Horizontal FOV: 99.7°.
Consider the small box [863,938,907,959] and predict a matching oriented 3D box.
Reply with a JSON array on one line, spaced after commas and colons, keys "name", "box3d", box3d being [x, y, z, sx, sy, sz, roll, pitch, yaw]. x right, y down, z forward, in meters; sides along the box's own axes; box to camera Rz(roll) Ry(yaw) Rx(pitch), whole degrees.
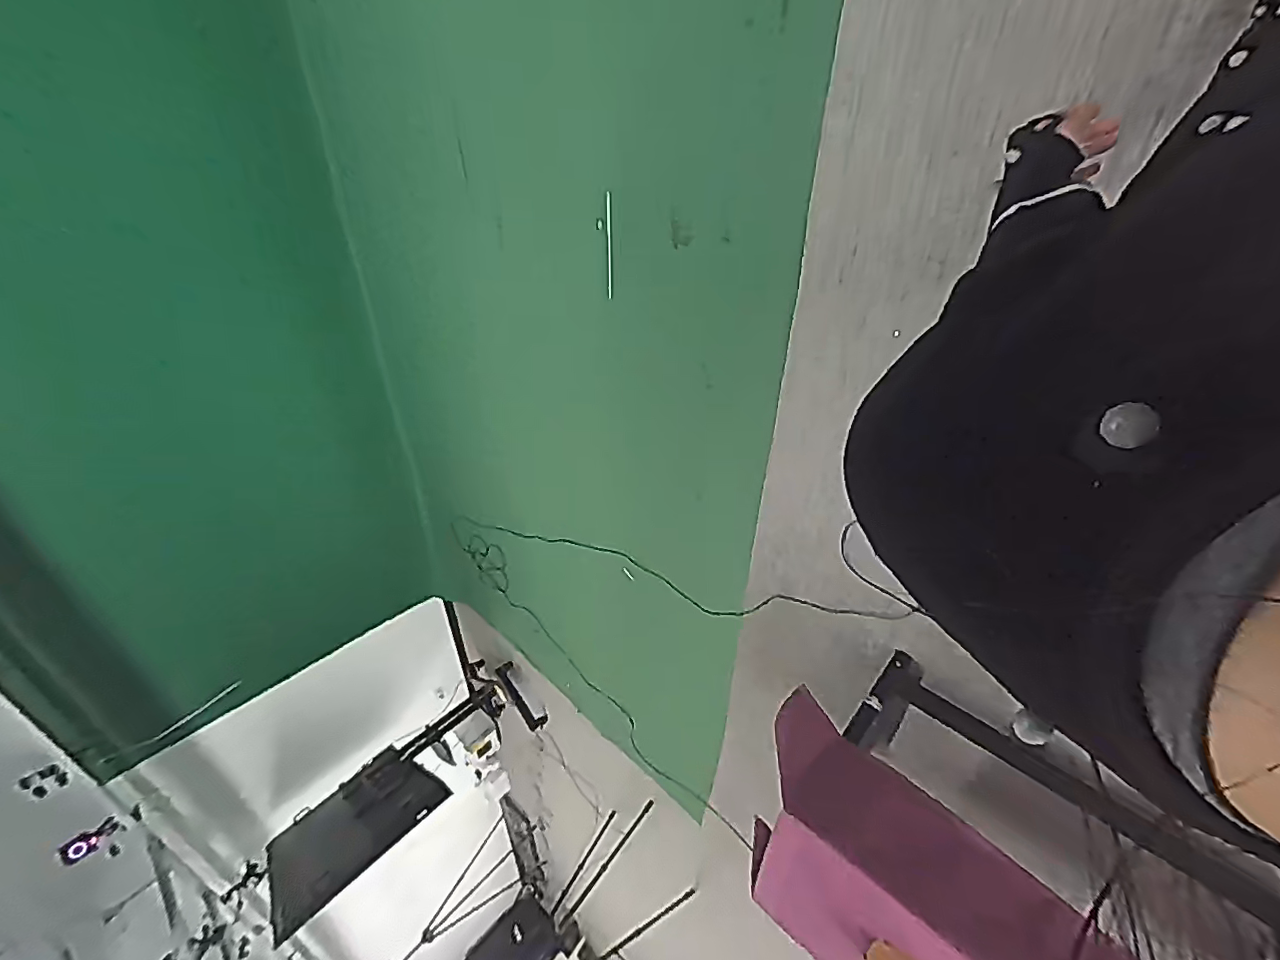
[{"name": "small box", "box3d": [0.601, 1.256, 1.281, 0.179, 0.176, 0.168, 29, 132, 35]}]
